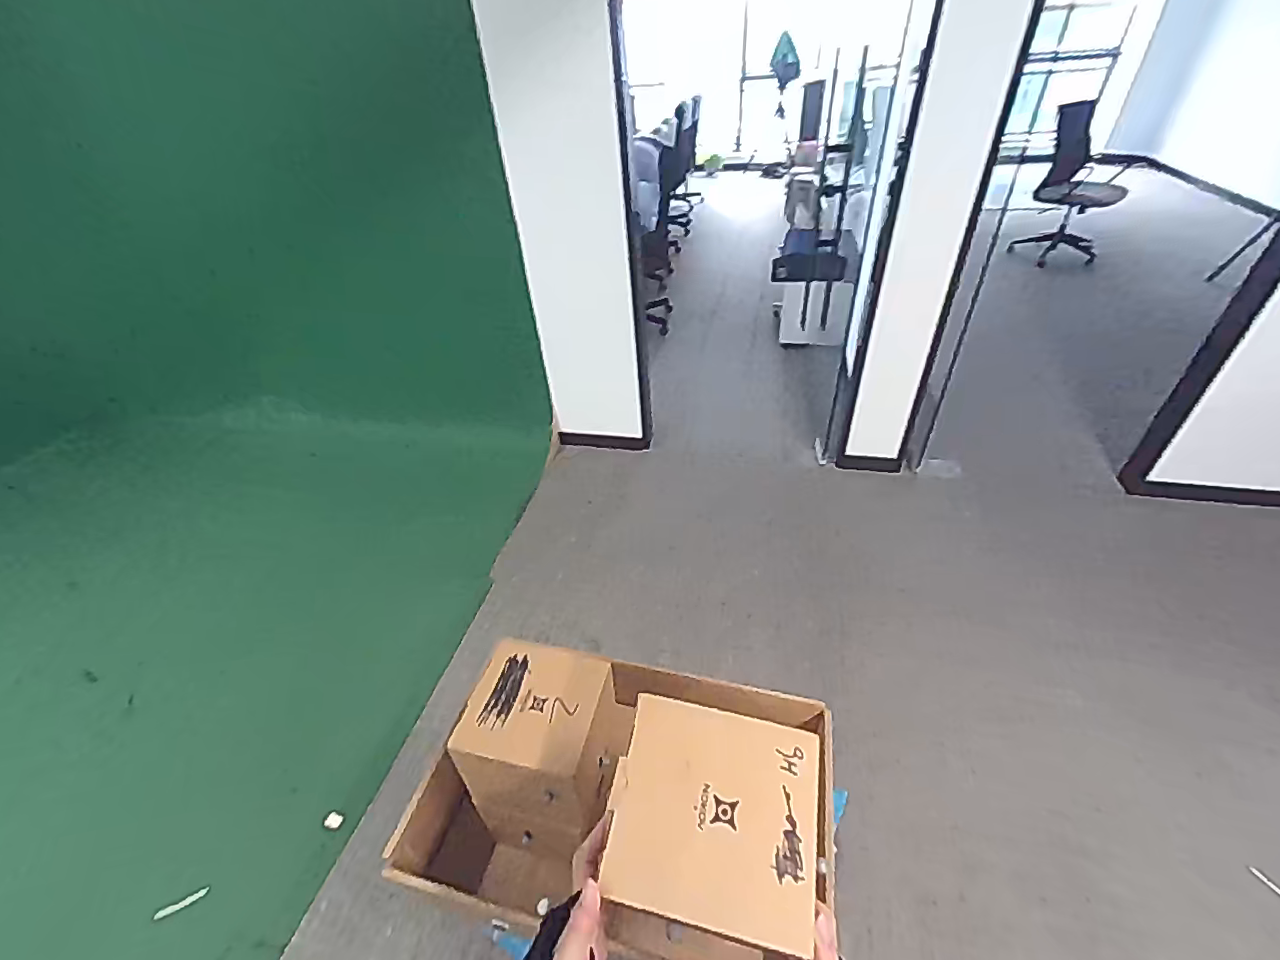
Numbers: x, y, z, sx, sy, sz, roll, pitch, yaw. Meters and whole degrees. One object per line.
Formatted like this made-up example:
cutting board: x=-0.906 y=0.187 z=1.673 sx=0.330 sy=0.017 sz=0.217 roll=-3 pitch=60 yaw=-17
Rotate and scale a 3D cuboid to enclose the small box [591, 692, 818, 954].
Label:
small box: x=0.066 y=0.335 z=0.531 sx=0.179 sy=0.176 sz=0.168 roll=10 pitch=51 yaw=11
